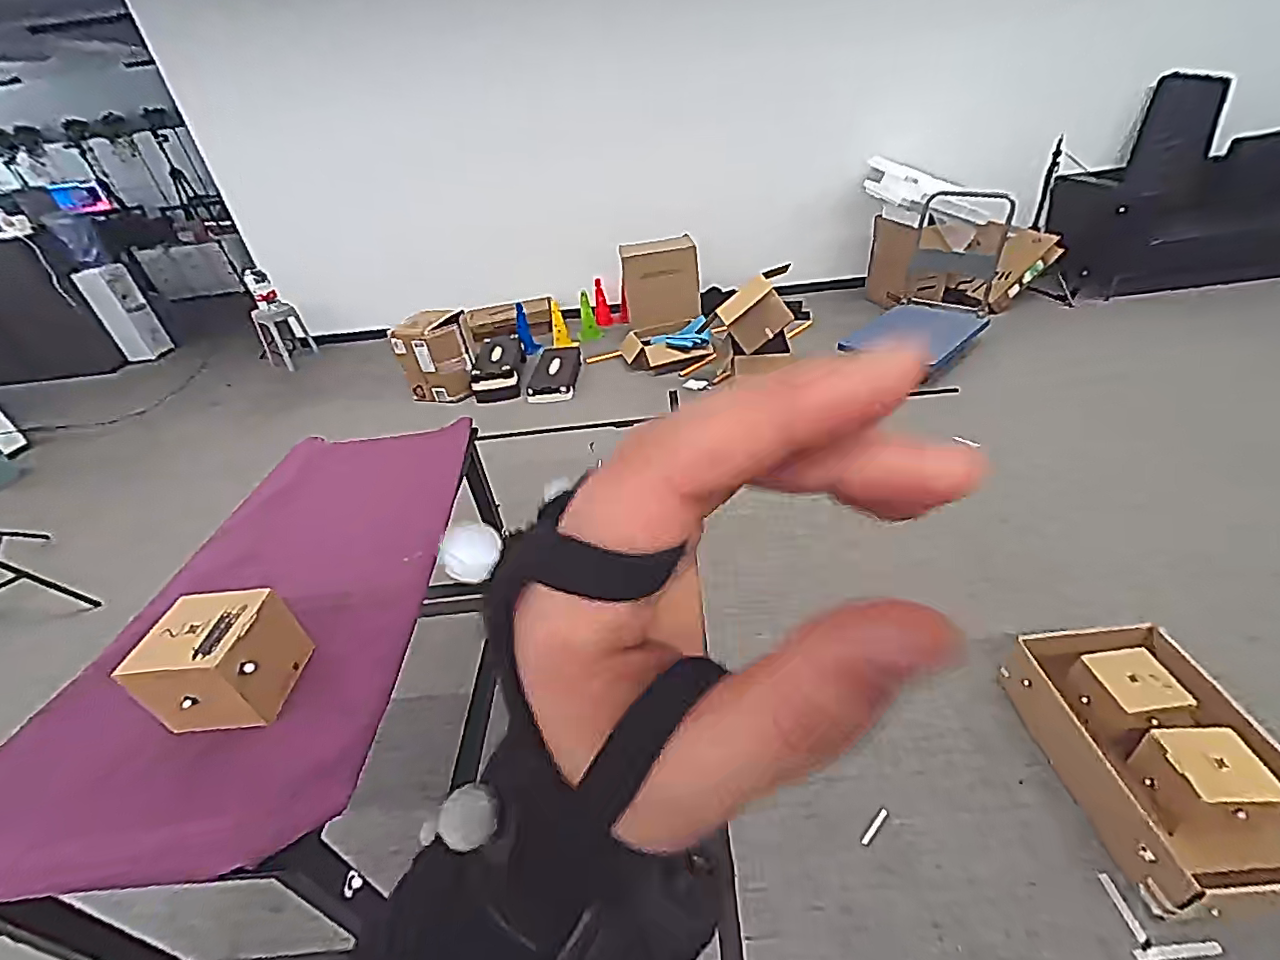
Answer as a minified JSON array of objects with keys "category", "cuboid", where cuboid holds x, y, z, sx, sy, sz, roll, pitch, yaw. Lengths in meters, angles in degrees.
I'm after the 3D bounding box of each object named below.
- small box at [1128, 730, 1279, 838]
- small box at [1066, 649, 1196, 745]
[{"category":"small box","cuboid":[1.295,0.698,1.243,0.179,0.176,0.168,-3,35,7]},{"category":"small box","cuboid":[1.268,0.572,1.419,0.179,0.176,0.168,-7,37,1]}]
